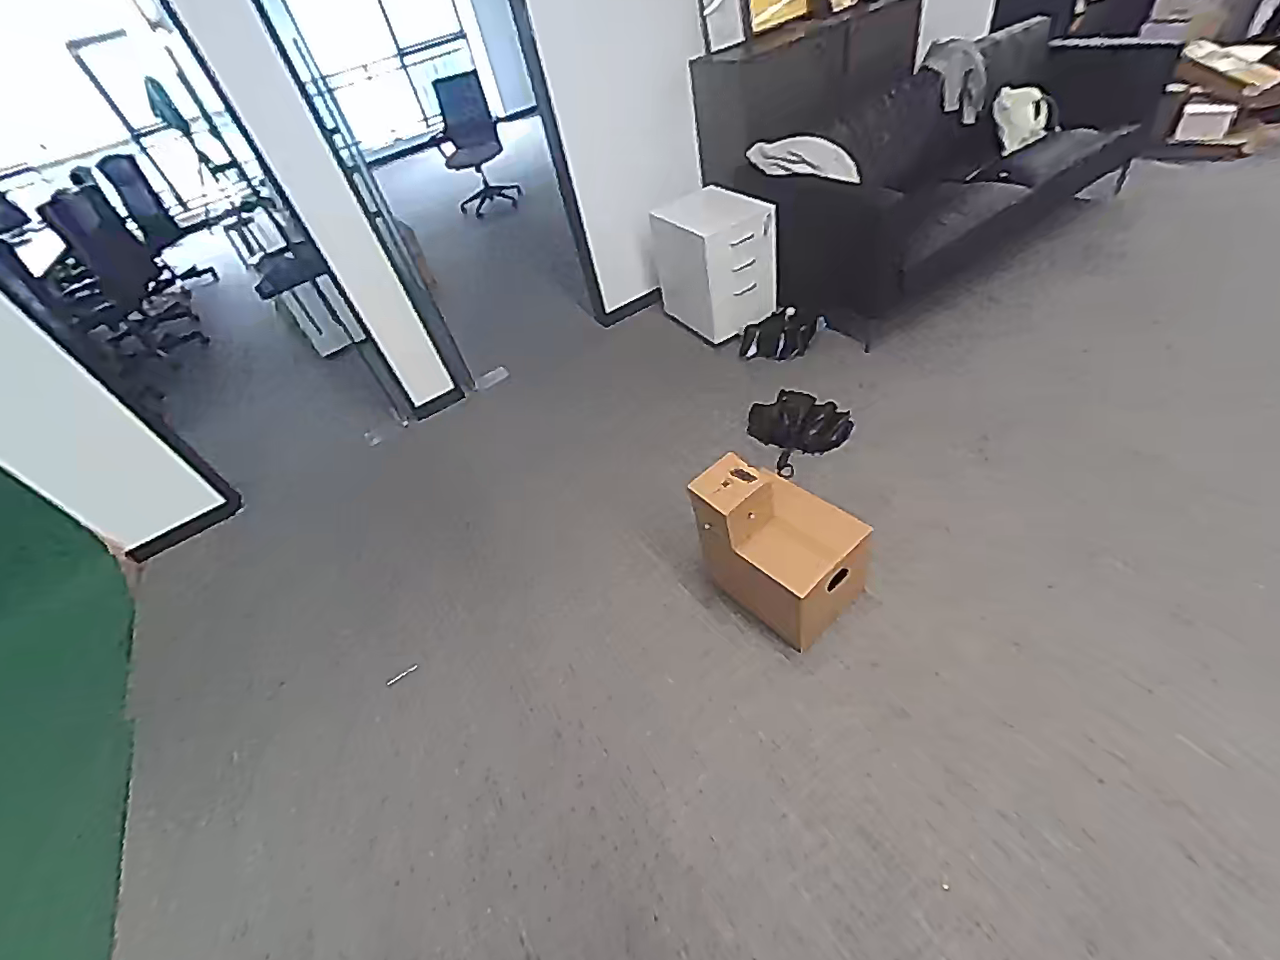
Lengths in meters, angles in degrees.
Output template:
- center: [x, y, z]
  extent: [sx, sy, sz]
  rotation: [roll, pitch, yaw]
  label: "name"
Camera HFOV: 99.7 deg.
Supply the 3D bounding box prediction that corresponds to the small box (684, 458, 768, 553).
- center: [0.253, 0.075, 1.563]
  extent: [0.179, 0.176, 0.168]
  rotation: [-36, 47, -16]
  label: "small box"
